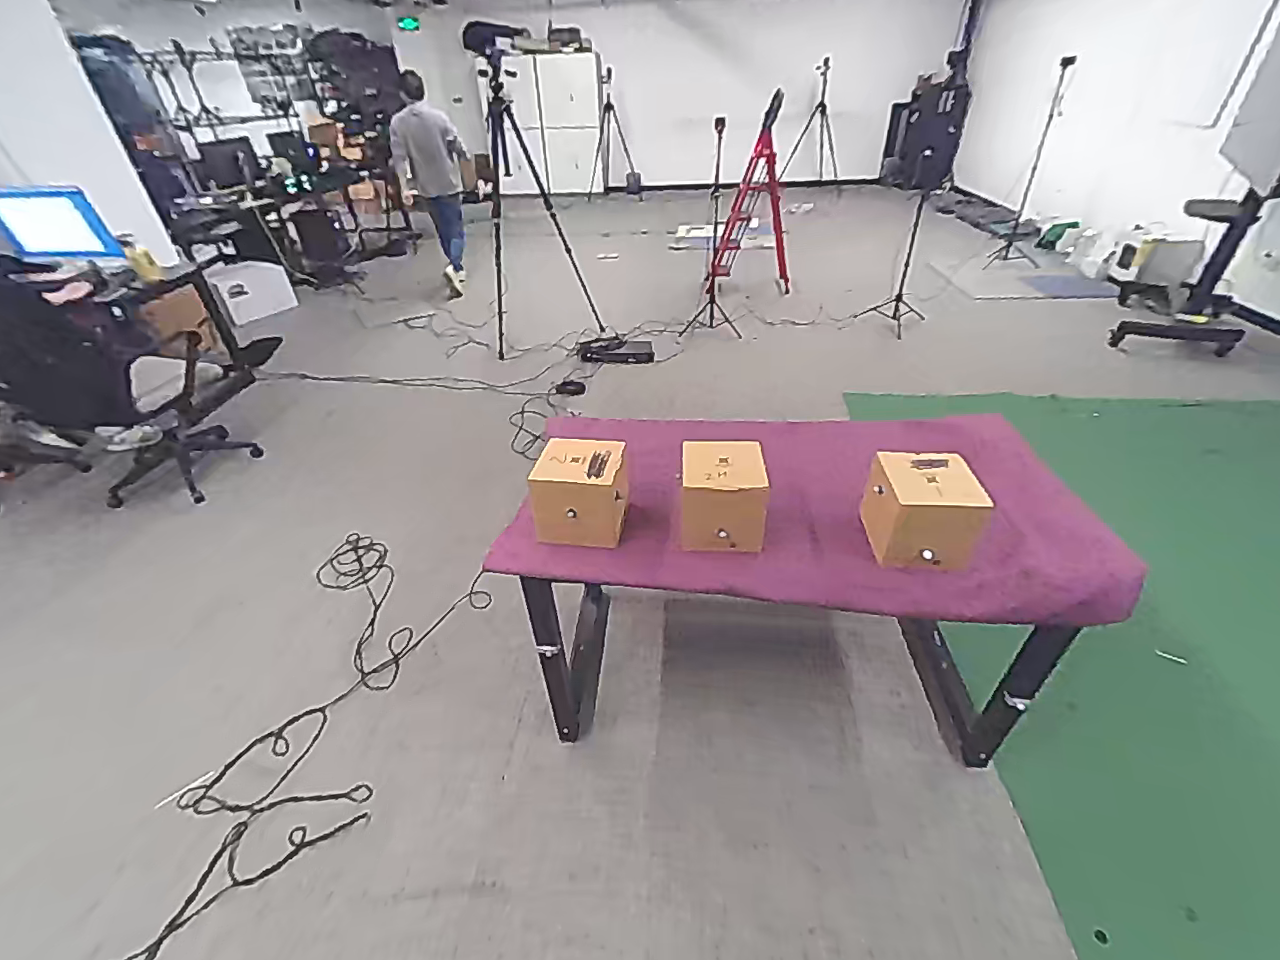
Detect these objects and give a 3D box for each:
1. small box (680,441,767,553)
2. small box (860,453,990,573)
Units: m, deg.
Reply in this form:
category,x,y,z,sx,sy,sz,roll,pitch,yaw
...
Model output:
category,x,y,z,sx,sy,sz,roll,pitch,yaw
small box,0.170,0.033,1.149,0.168,0.176,0.179,0,35,4
small box,0.560,0.063,1.093,0.168,0.176,0.179,1,37,5
